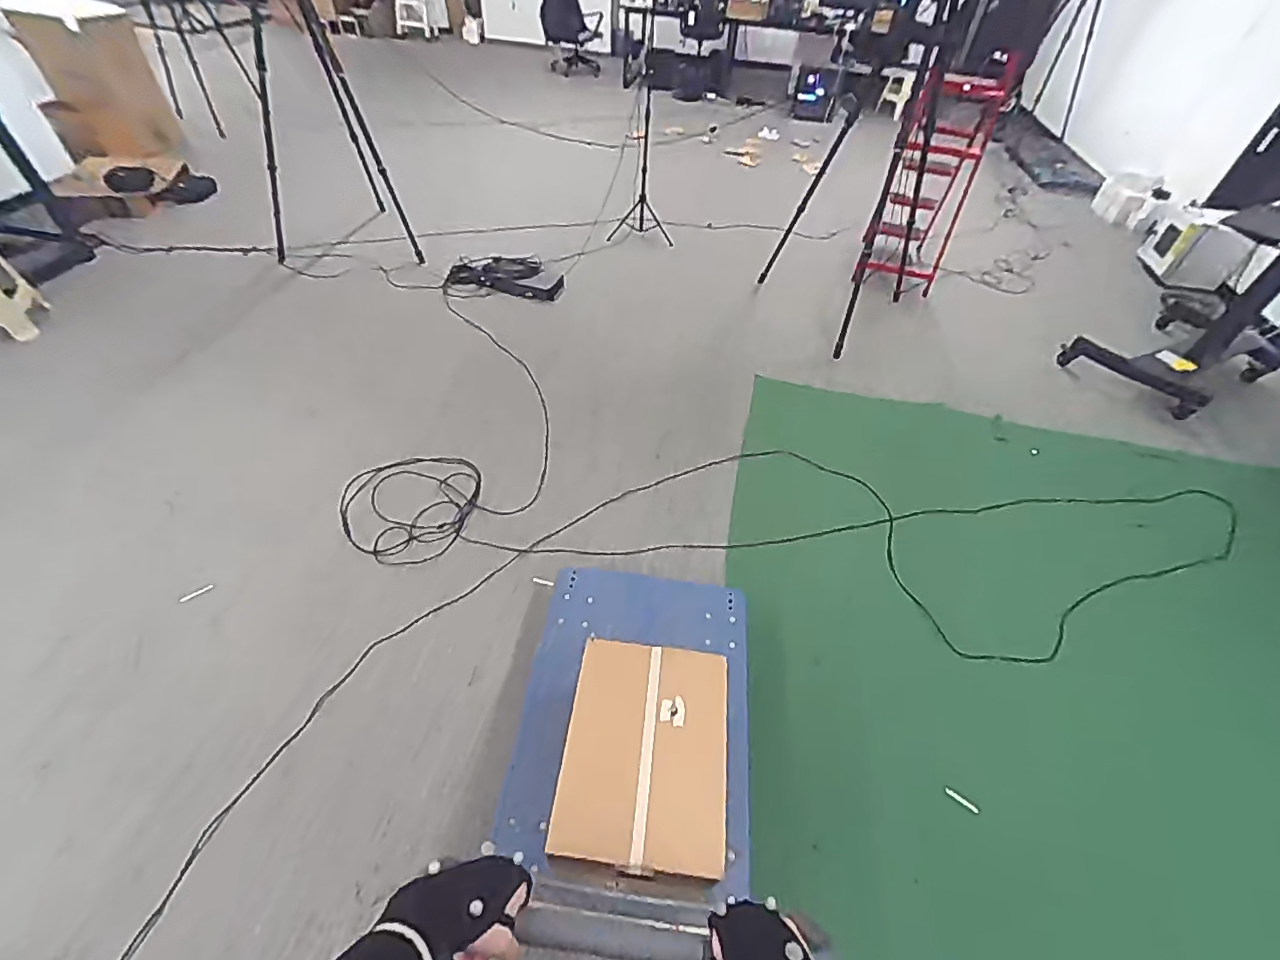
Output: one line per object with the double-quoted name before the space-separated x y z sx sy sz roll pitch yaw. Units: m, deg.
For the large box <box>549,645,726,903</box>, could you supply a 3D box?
"large box" 0.004 0.625 1.161 0.320 0.320 0.408 8 46 1
